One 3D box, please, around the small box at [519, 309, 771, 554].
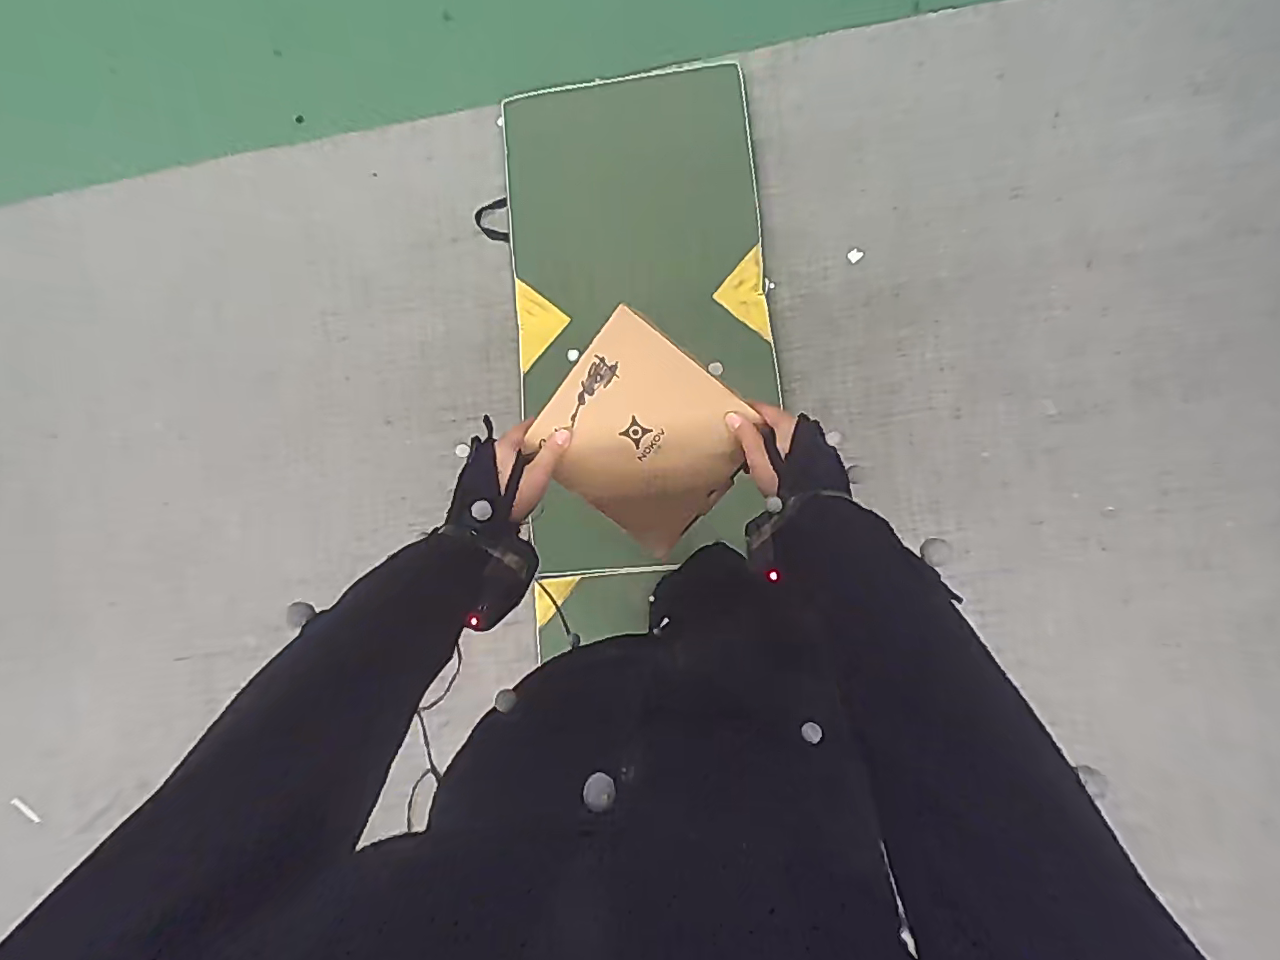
[{"bbox_3d":[0.008,-0.059,0.571,0.179,0.176,0.168,38,103,-6],"label":"small box"}]
